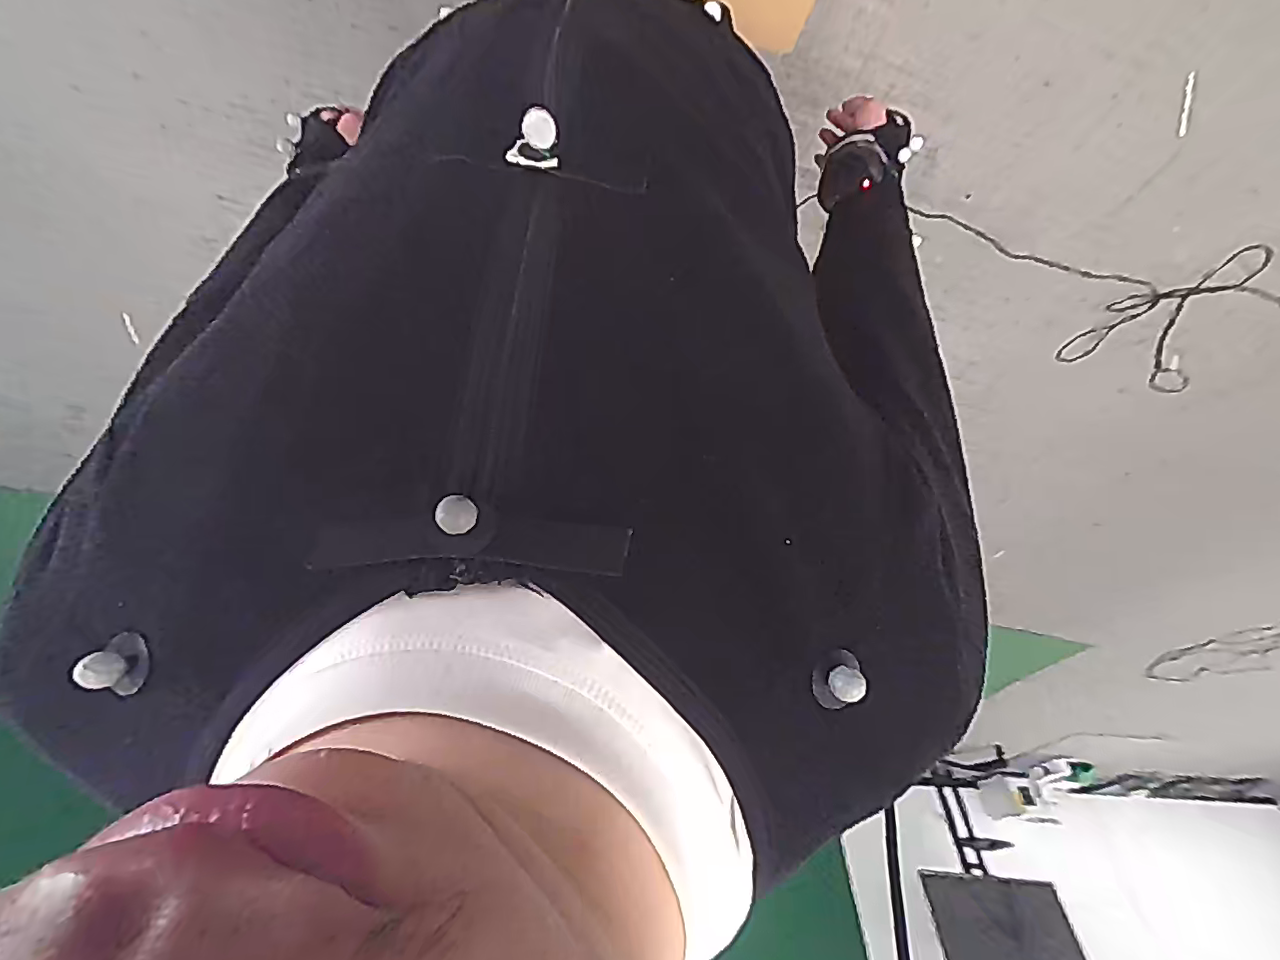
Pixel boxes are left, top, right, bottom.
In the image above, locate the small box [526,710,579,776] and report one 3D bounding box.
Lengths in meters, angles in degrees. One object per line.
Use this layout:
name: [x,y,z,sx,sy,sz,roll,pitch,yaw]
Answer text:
small box: [-0.302,0.911,1.874,0.168,0.176,0.179,6,137,-7]
